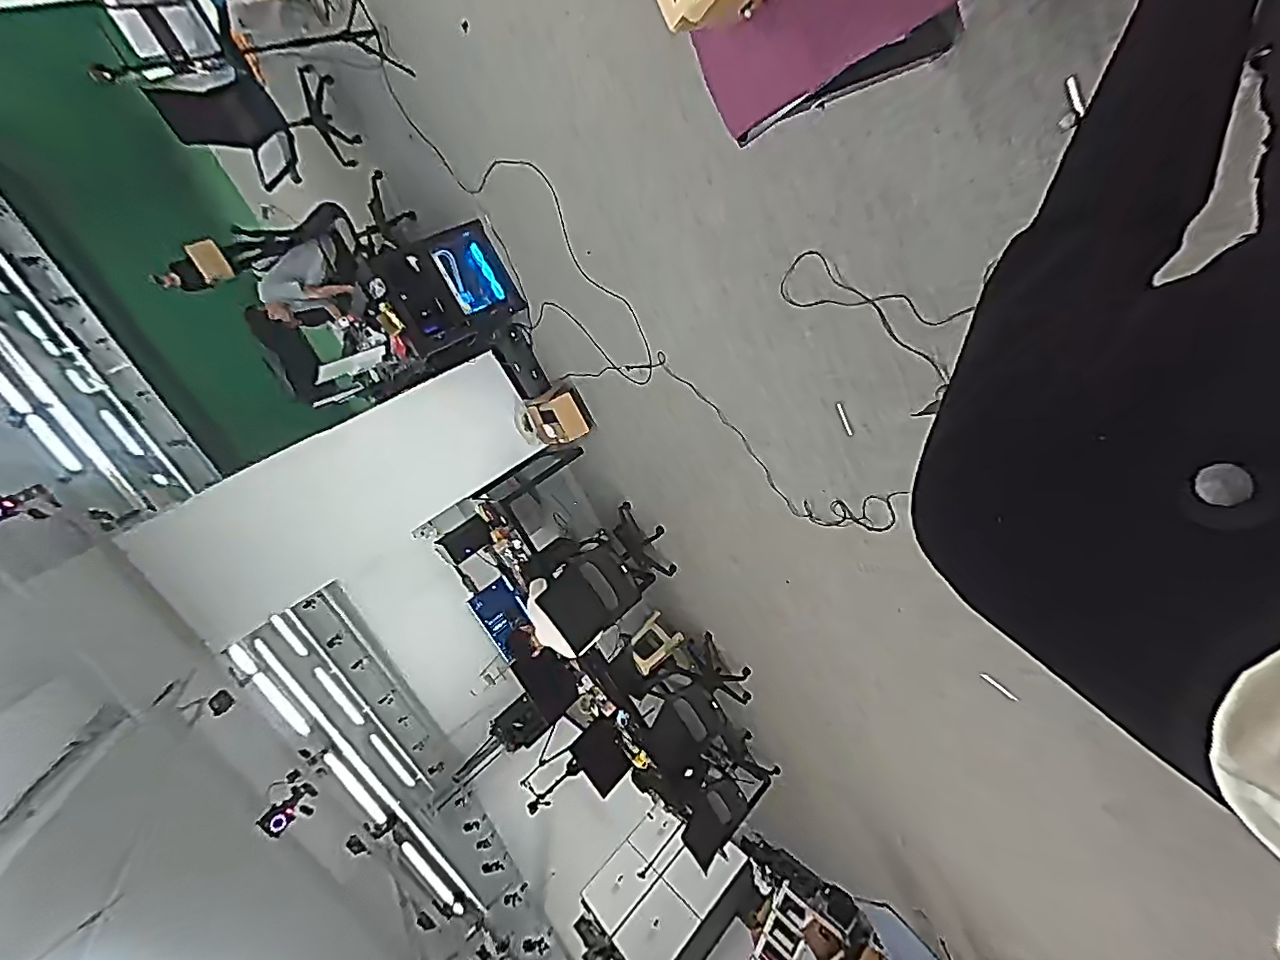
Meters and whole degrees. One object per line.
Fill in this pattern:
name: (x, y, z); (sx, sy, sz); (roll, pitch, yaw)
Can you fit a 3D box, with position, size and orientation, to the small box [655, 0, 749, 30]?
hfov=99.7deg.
small box: (0.103, -0.768, 0.730); (0.168, 0.176, 0.179); (-5, 116, 58)
